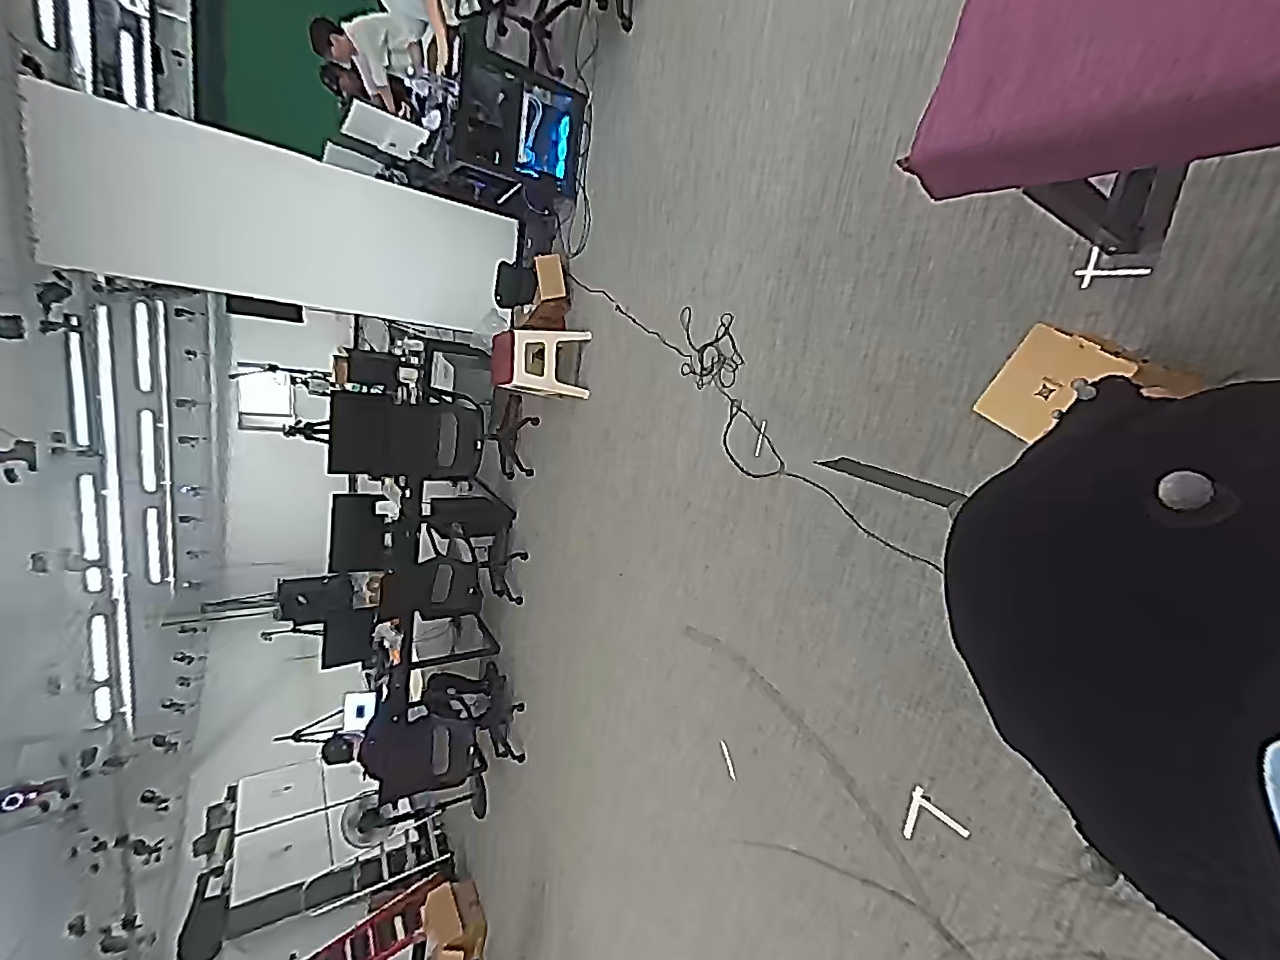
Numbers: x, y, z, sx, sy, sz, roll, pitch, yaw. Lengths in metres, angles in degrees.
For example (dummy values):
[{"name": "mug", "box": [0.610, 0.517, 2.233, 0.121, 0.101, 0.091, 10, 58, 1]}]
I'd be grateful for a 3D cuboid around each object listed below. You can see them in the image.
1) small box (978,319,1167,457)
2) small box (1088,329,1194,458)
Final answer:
[{"name": "small box", "box": [0.746, -0.153, 0.934, 0.168, 0.176, 0.179, 52, 131, 41]}, {"name": "small box", "box": [0.883, -0.159, 1.022, 0.168, 0.176, 0.179, 59, 137, 36]}]
